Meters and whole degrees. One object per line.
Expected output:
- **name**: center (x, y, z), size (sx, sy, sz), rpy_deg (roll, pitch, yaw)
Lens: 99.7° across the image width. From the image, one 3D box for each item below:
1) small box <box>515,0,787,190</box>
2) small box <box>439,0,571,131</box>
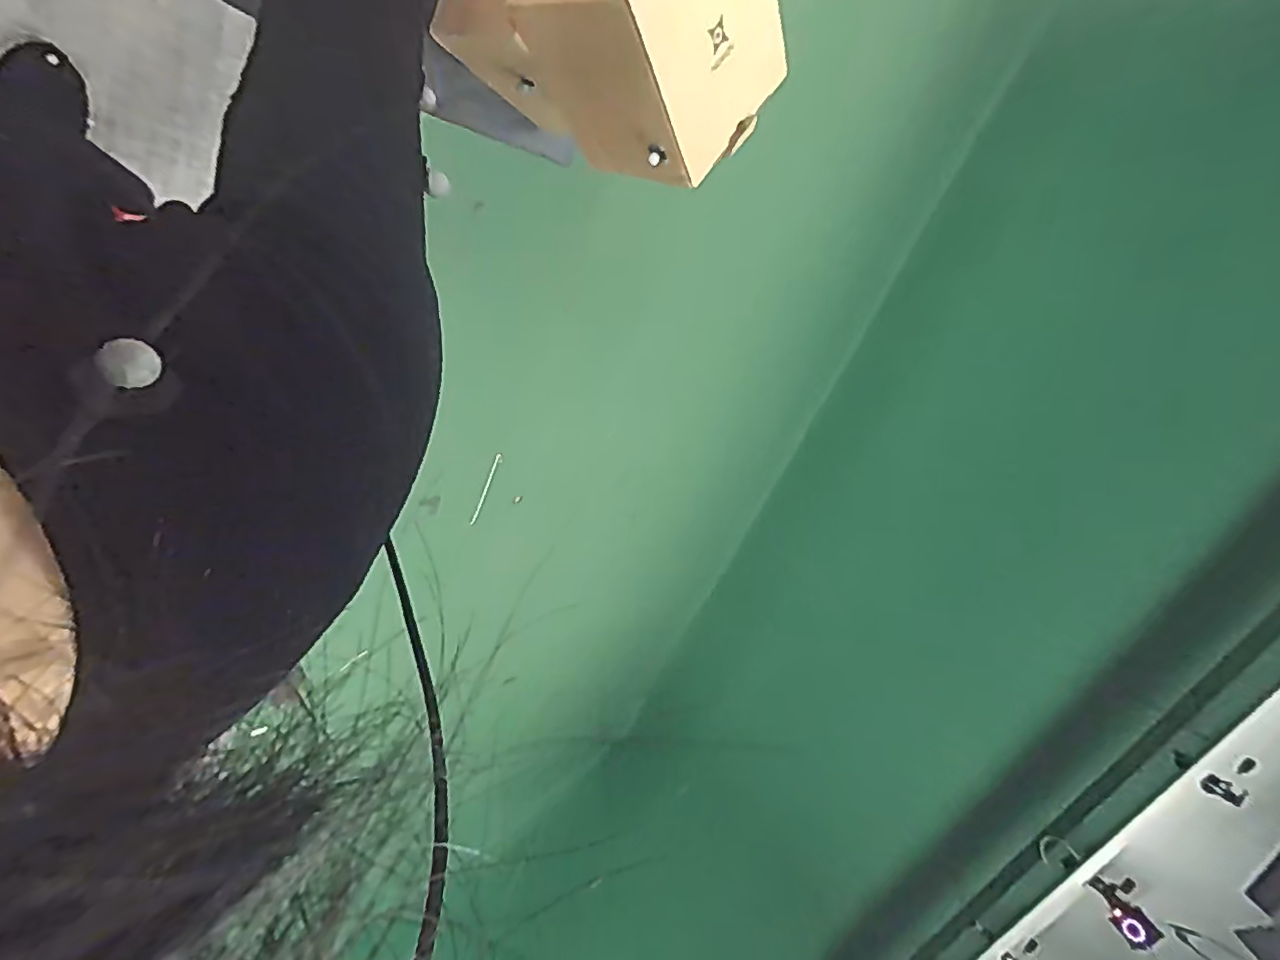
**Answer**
- **small box**: center (0.014, -0.423, 0.524), size (0.168, 0.176, 0.179), rpy_deg (-52, 147, -5)
- **small box**: center (-0.093, -0.516, 0.606), size (0.179, 0.176, 0.168), rpy_deg (9, 112, -53)
